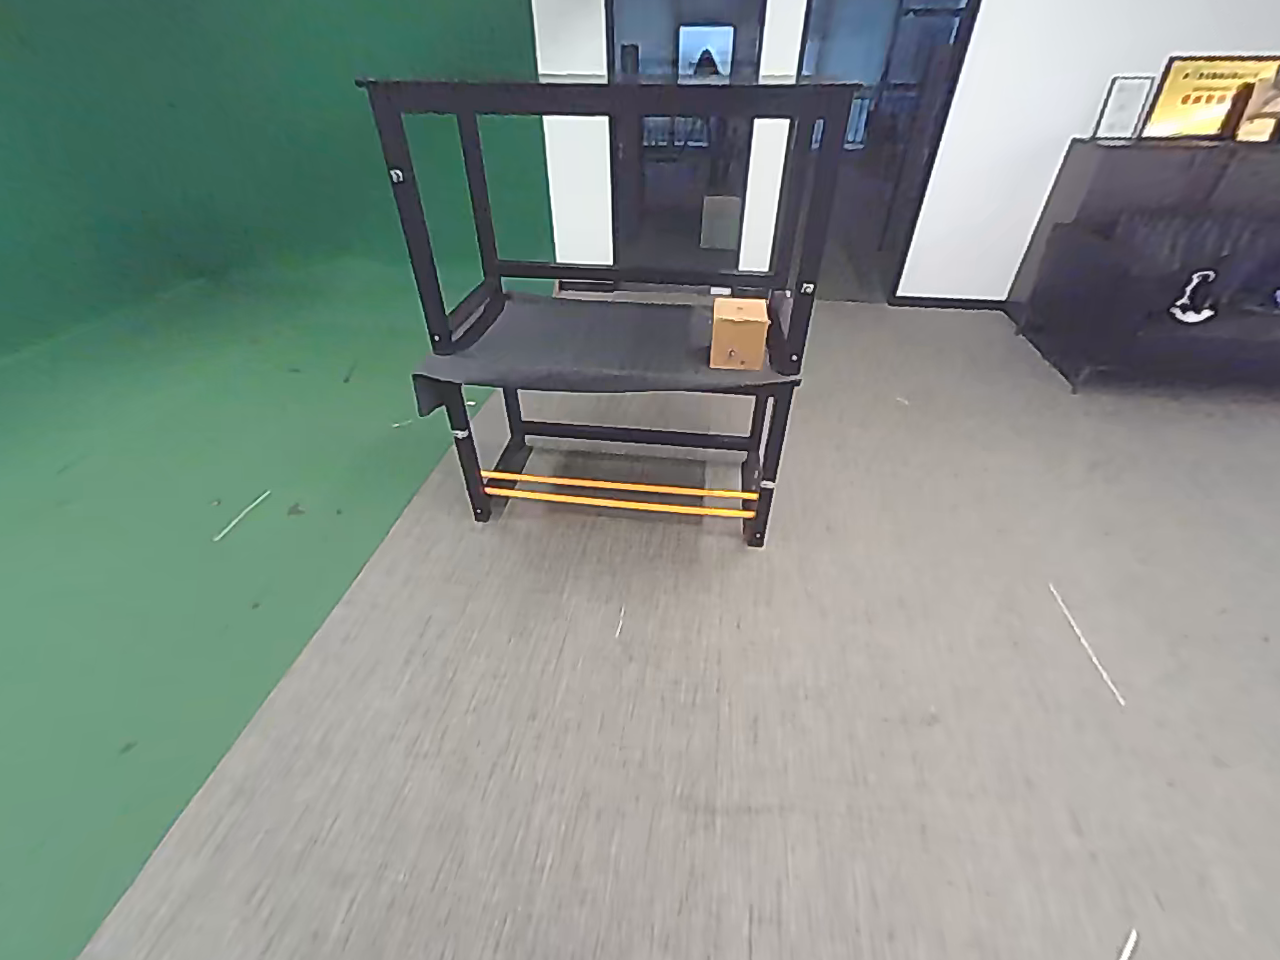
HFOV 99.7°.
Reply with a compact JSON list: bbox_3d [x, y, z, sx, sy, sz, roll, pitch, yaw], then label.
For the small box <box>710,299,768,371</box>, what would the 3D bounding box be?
[{"bbox_3d":[0.313,-0.467,1.733,0.168,0.176,0.179,4,38,6],"label":"small box"}]
